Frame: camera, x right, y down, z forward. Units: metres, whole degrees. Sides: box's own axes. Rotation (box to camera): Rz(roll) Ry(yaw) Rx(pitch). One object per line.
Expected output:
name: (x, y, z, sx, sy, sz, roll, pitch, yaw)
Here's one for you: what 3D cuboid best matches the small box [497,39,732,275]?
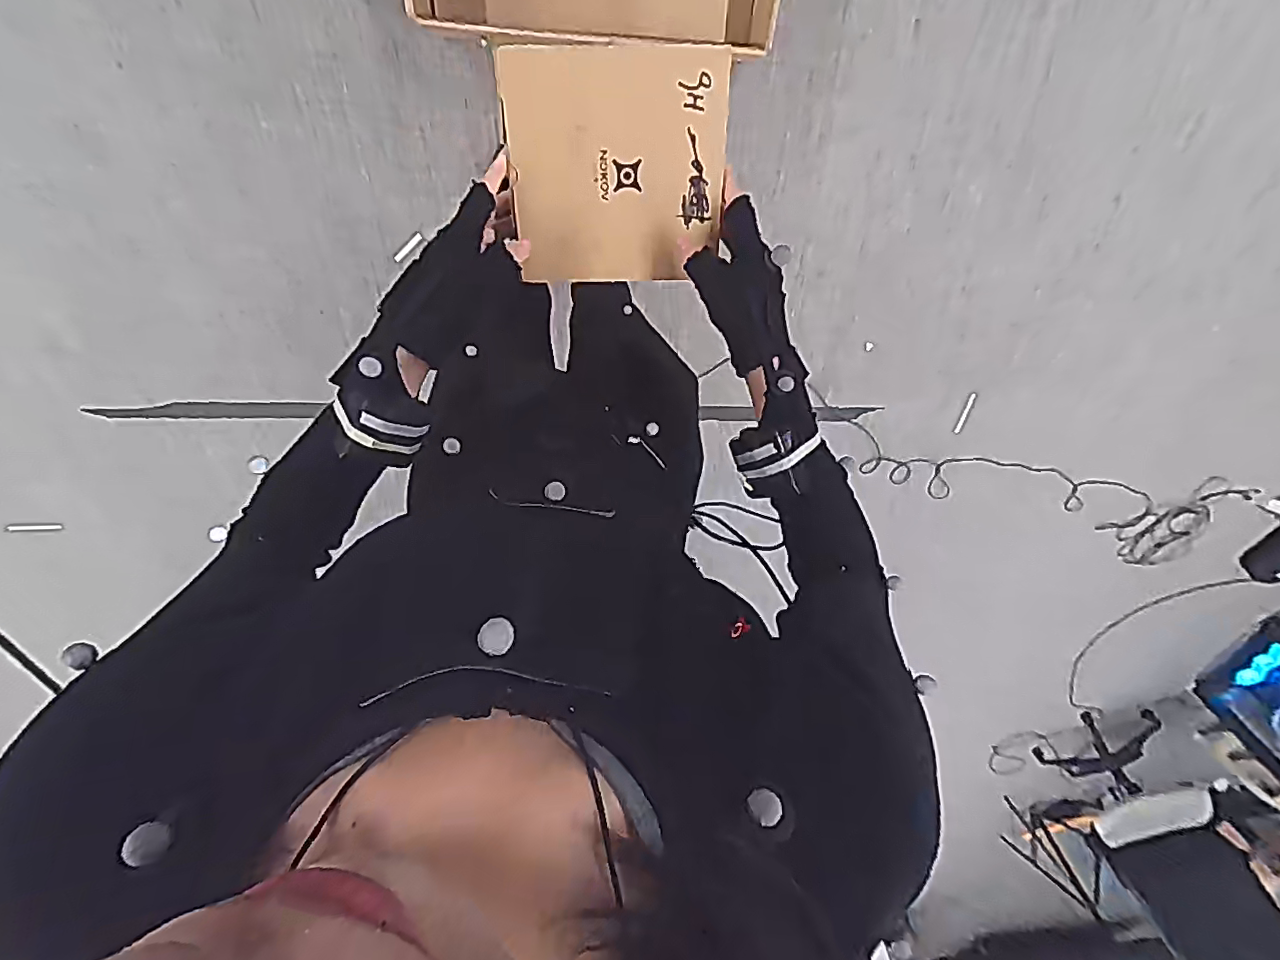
small box: (-0.021, -0.292, 0.504, 0.179, 0.176, 0.168, -2, 122, -2)
